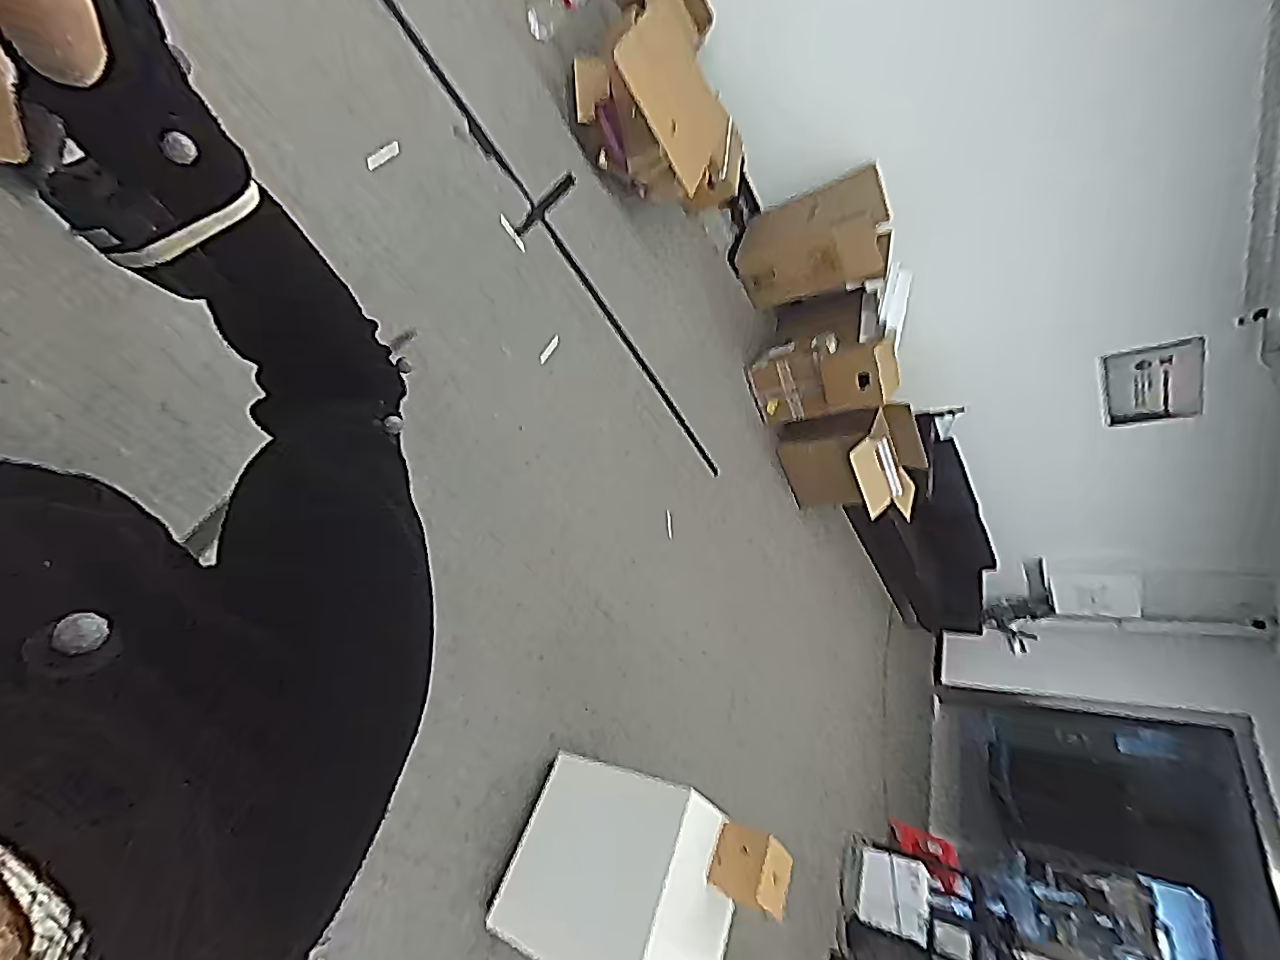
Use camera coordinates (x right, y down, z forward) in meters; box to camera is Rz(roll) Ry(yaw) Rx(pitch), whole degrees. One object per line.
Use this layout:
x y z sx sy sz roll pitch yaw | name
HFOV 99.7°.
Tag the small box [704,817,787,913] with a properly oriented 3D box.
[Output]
0.312 1.134 1.604 0.179 0.176 0.168 56 46 -30 | small box
